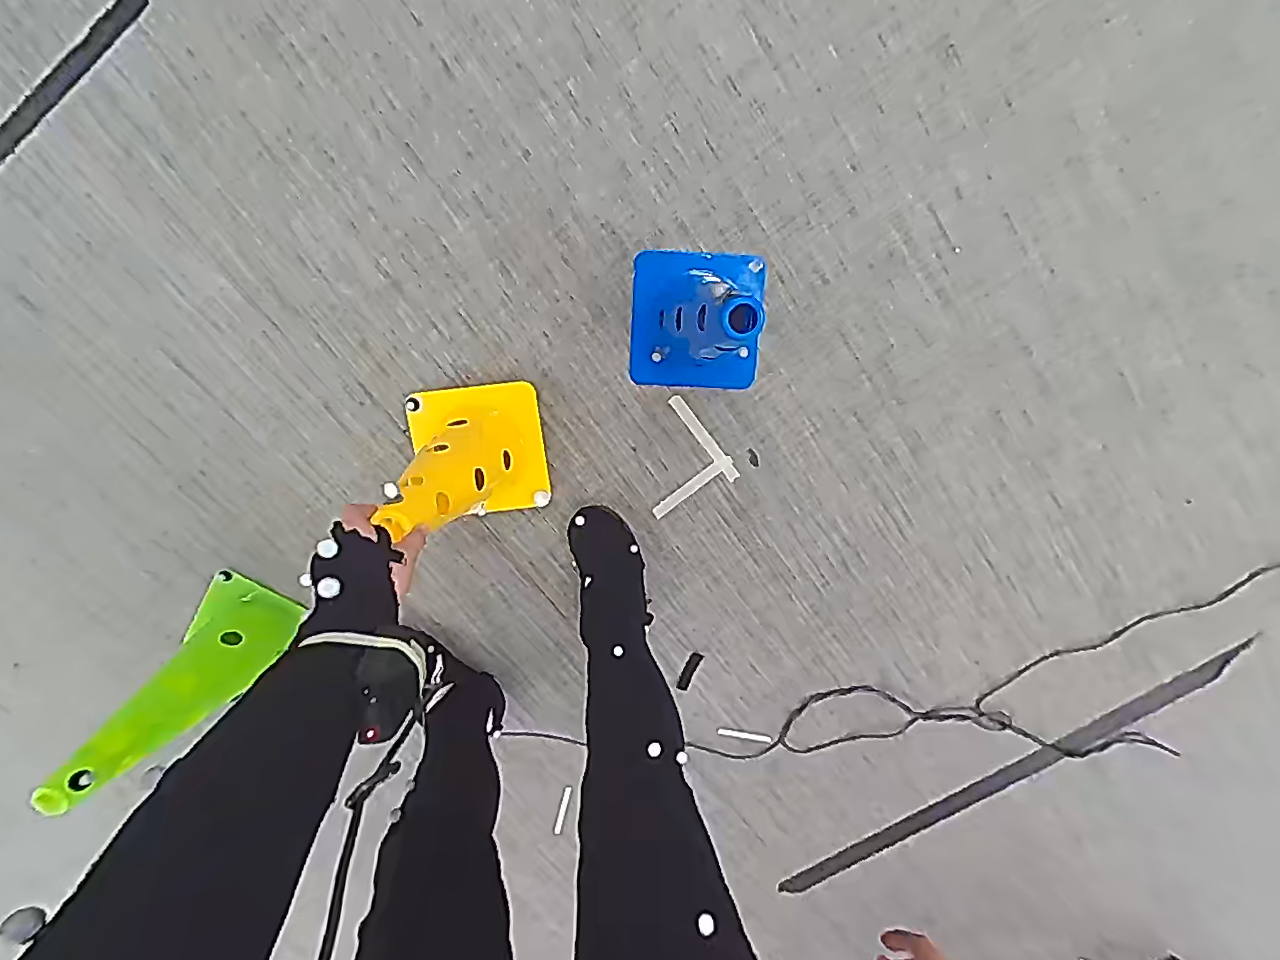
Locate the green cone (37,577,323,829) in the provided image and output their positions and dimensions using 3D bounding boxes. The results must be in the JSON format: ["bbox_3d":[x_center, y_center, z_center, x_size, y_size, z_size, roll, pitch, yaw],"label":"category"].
[{"bbox_3d":[-0.680,0.335,0.789,0.202,0.368,0.200,31,103,-10],"label":"green cone"}]
